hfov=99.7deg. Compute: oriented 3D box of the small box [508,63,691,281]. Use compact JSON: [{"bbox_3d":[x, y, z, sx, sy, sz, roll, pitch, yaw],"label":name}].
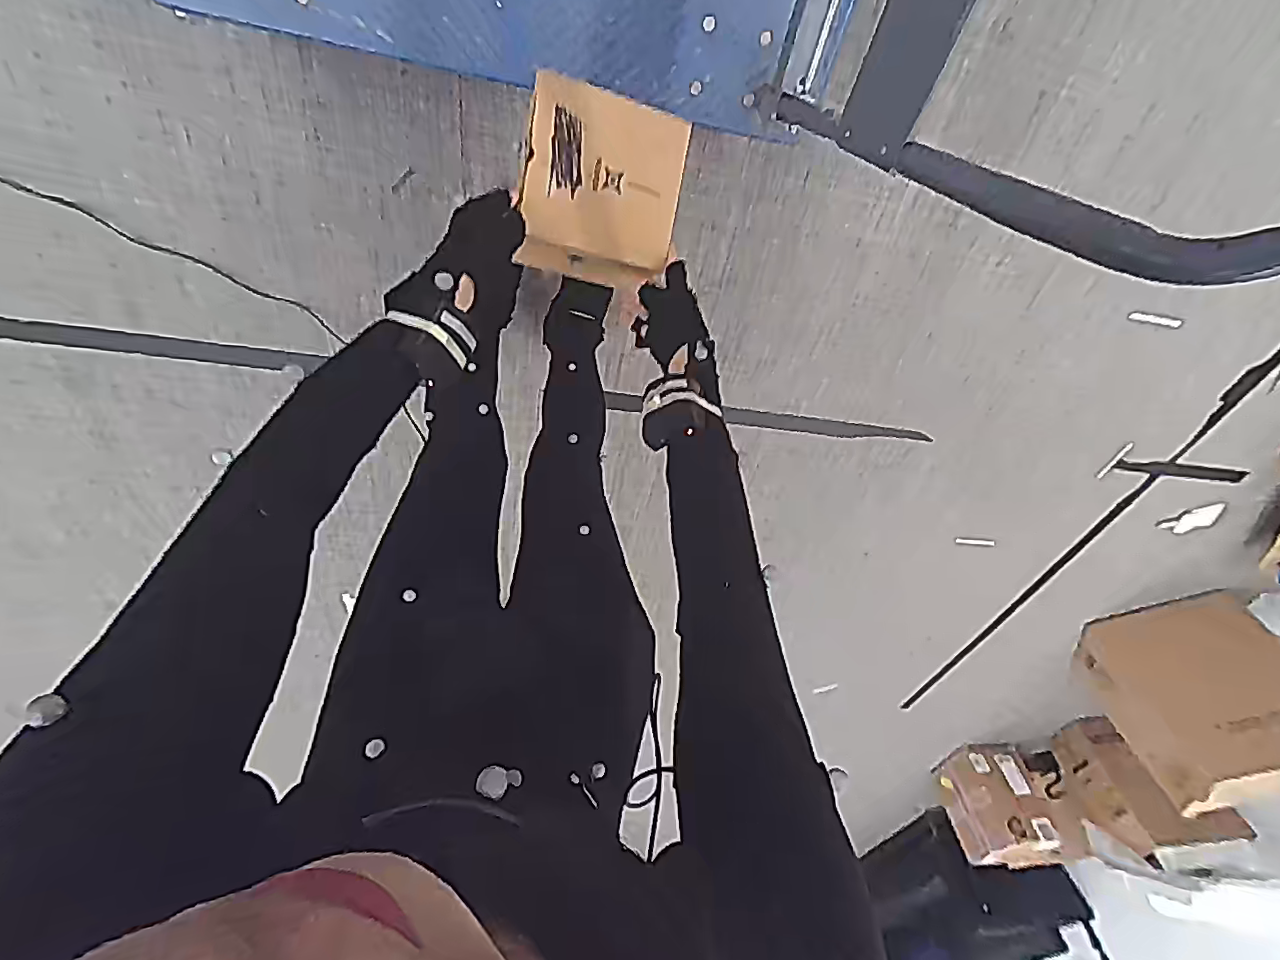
[{"bbox_3d":[-0.062,-0.355,0.667,0.179,0.176,0.168,8,100,-19],"label":"small box"}]
